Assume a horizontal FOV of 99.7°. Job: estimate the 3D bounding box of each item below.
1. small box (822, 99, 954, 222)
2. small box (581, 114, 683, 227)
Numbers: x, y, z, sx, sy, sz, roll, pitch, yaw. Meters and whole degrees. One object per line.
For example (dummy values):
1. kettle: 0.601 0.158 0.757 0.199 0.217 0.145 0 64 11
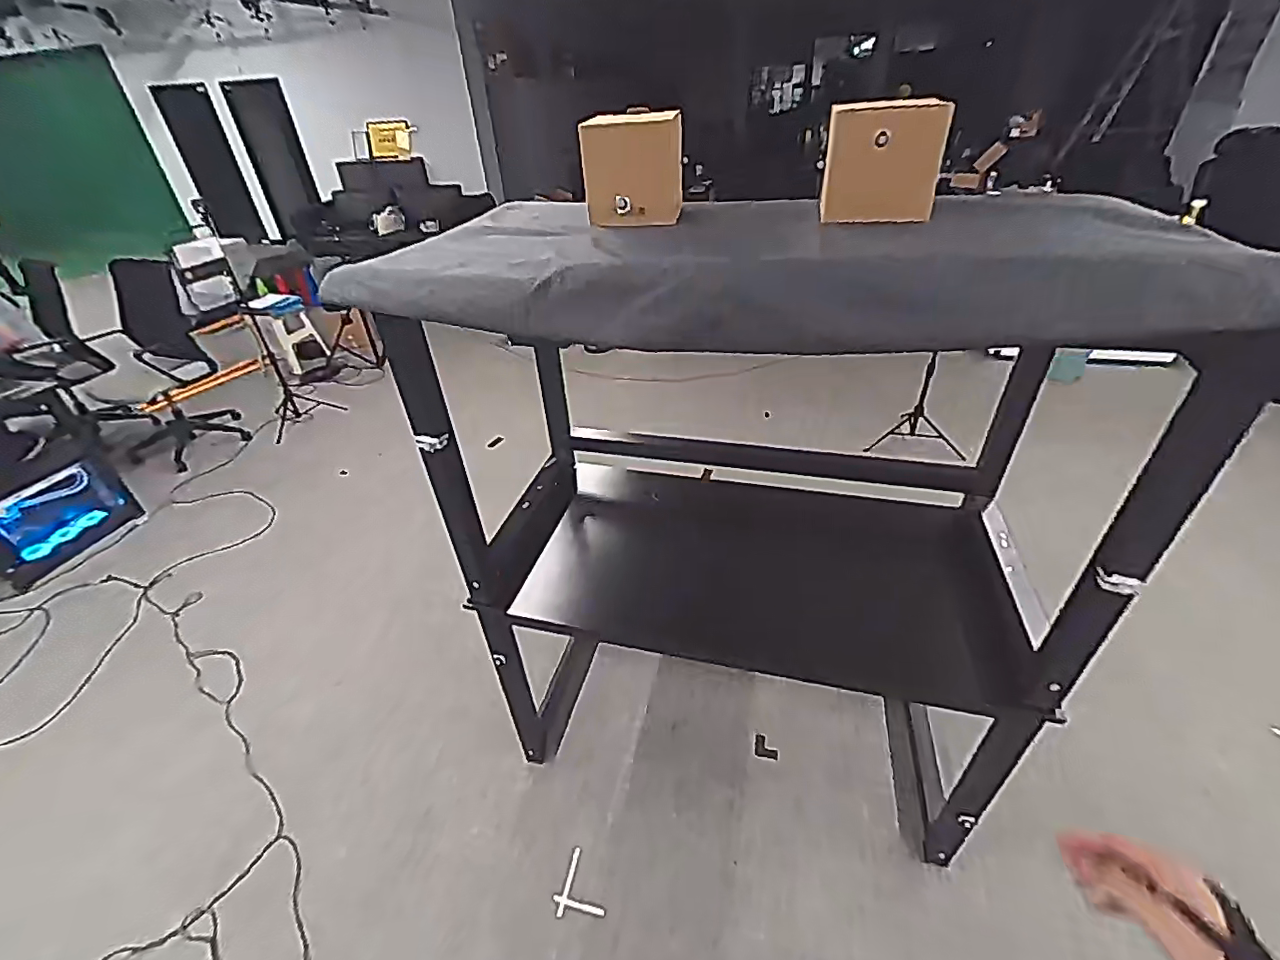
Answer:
1. small box: 0.418 -0.557 0.944 0.179 0.176 0.168 6 38 14
2. small box: -0.006 -0.589 1.030 0.168 0.176 0.179 1 36 9
